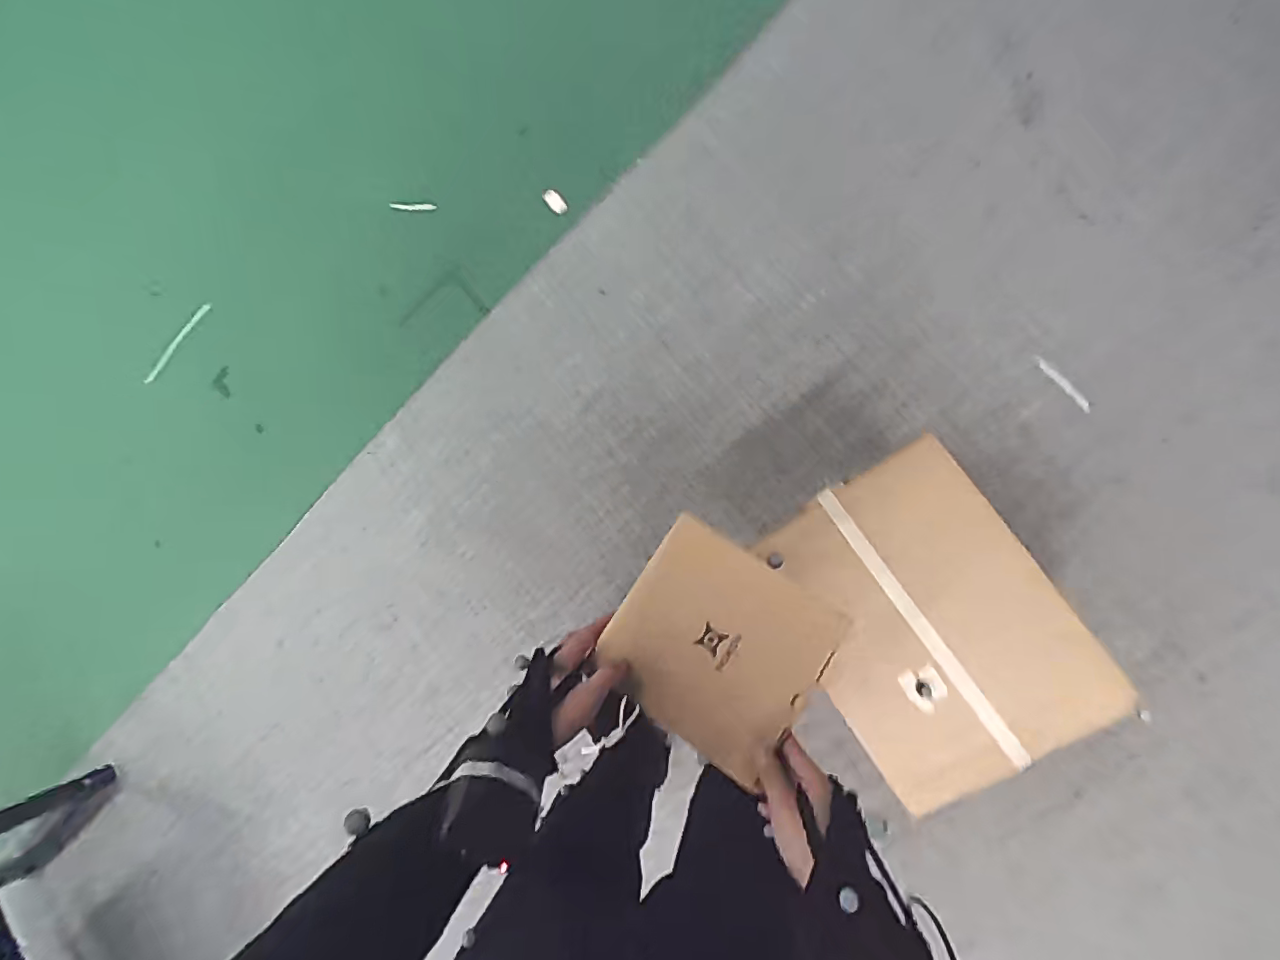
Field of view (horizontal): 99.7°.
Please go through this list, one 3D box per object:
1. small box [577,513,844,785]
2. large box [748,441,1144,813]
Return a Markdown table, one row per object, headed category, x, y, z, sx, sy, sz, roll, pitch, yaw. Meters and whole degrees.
| category | x | y | z | sx | sy | sz | roll | pitch | yaw |
| --- | --- | --- | --- | --- | --- | --- | --- | --- | --- |
| small box | 0.066 | 0.156 | 0.543 | 0.179 | 0.176 | 0.168 | 32 | 84 | 11 |
| large box | 0.412 | 0.191 | 0.850 | 0.320 | 0.320 | 0.408 | -36 | 81 | 14 |
